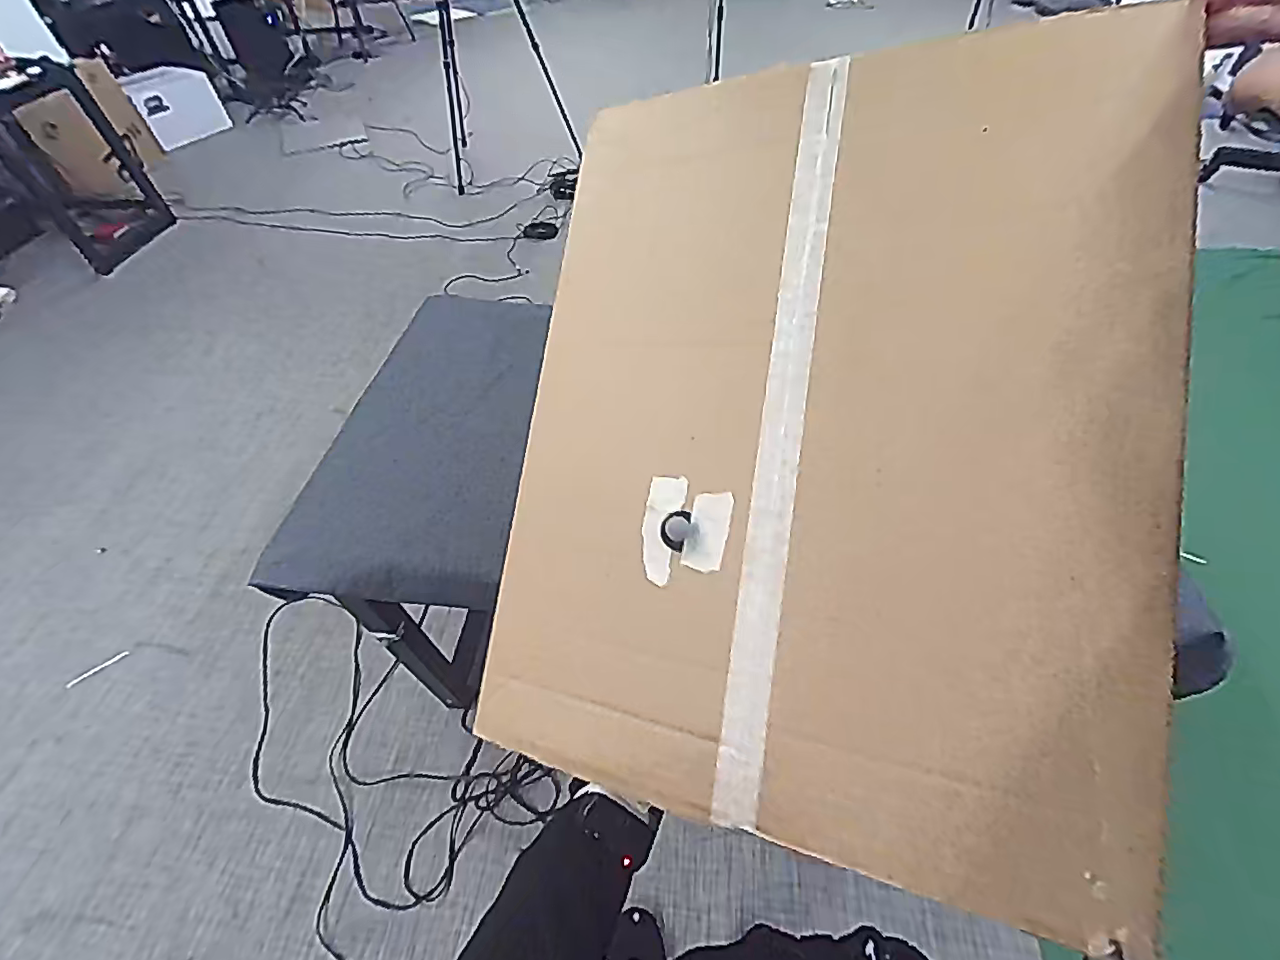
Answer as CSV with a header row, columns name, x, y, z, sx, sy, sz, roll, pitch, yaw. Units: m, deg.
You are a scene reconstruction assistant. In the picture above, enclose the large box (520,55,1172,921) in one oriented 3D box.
name,x,y,z,sx,sy,sz,roll,pitch,yaw
large box,0.142,-0.005,0.433,0.320,0.320,0.408,5,84,23
